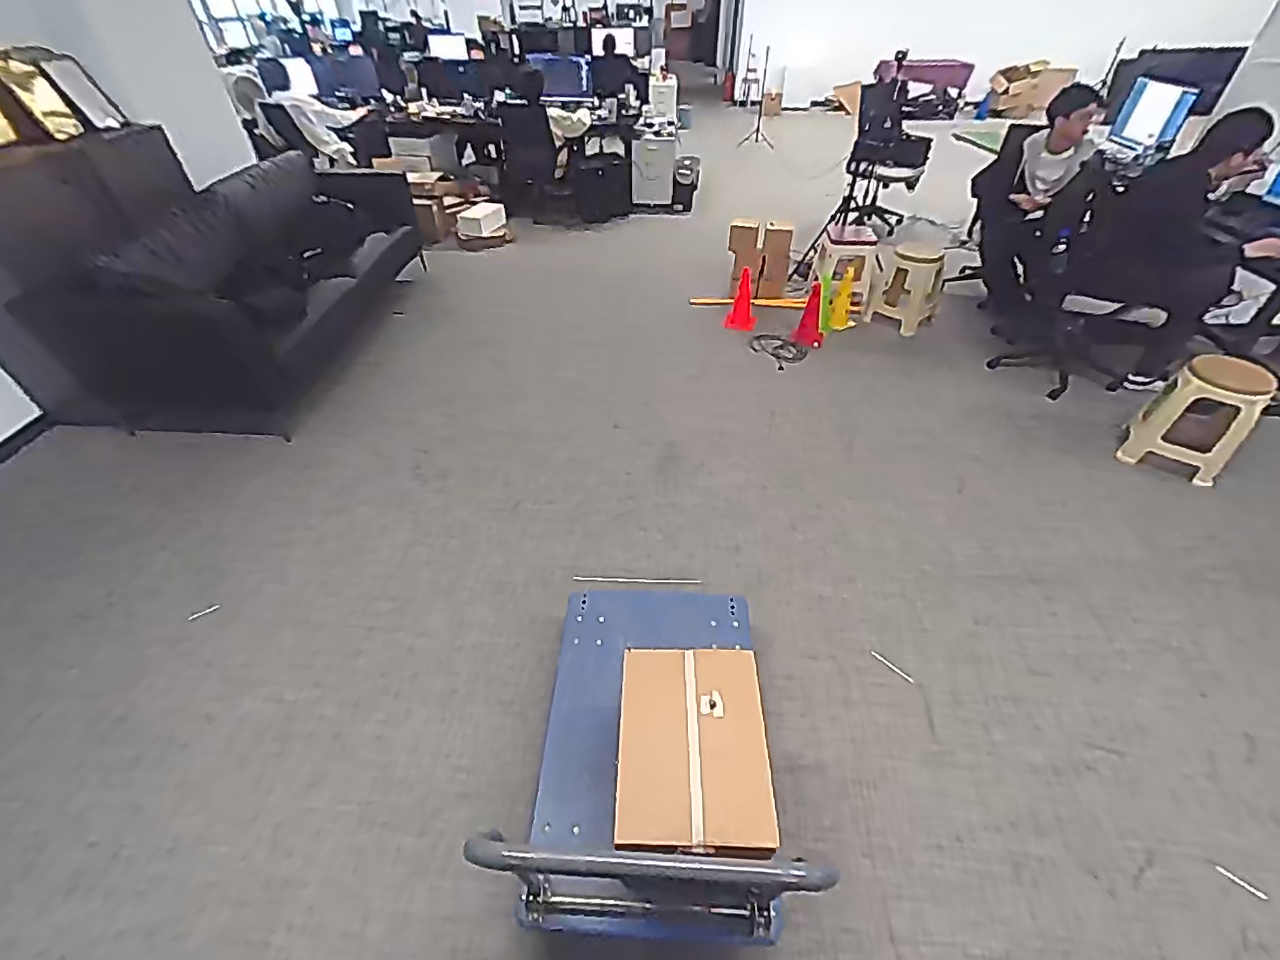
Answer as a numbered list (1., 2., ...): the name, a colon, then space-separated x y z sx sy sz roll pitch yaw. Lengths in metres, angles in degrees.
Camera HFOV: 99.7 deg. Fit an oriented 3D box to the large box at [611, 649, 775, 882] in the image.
1. large box: 0.104 0.652 1.248 0.320 0.320 0.408 1 42 1
